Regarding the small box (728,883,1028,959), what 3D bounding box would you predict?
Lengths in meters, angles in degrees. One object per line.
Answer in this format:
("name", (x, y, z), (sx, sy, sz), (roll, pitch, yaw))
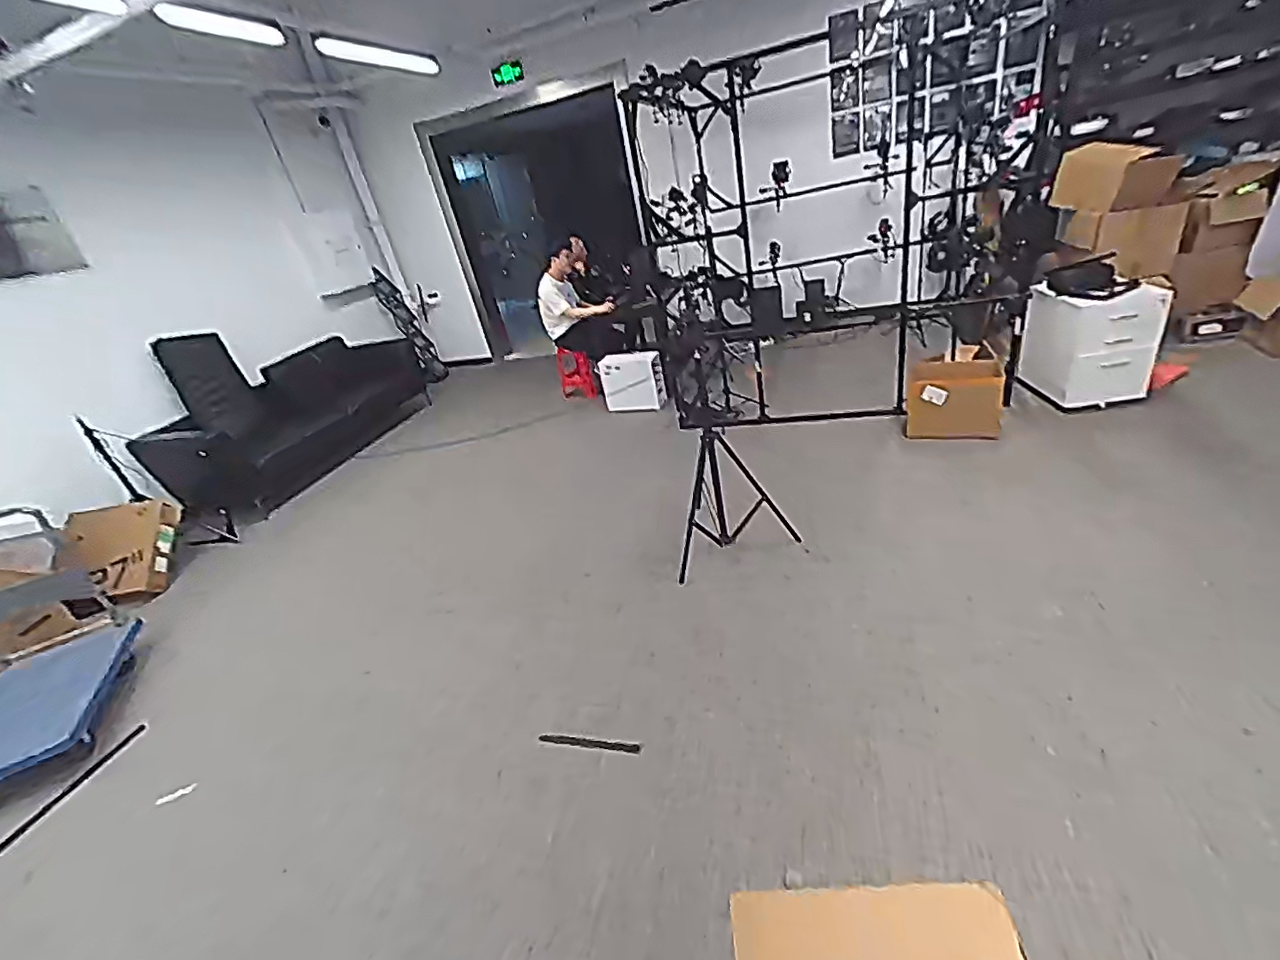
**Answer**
("small box", (0.159, 0.382, 0.354), (0.179, 0.176, 0.168), (-7, 44, 7))
